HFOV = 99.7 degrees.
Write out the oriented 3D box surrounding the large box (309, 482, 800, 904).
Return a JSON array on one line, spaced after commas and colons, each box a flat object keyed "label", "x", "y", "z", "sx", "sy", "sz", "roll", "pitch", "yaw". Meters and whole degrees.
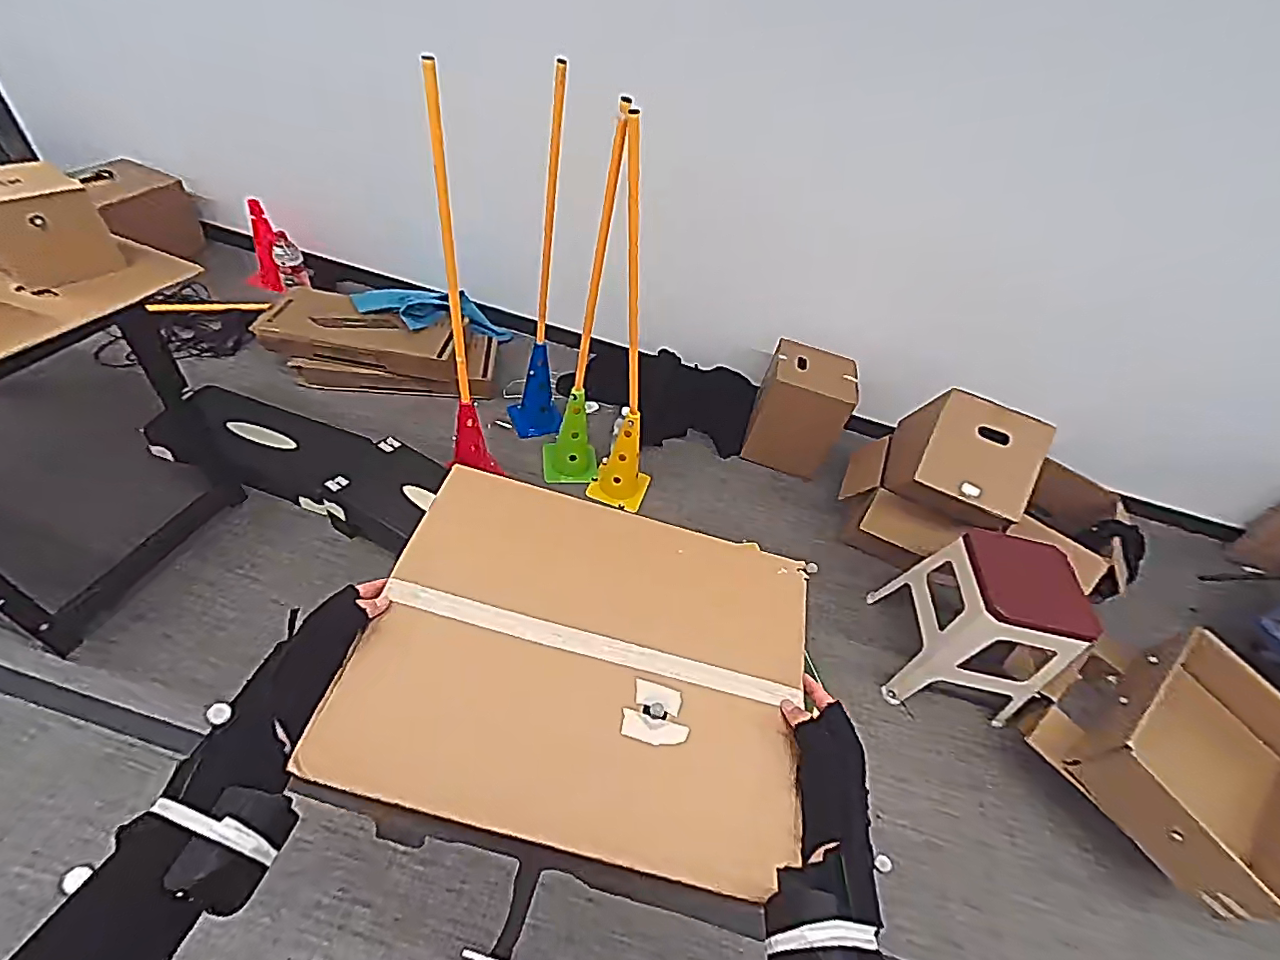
[{"label": "large box", "x": -0.070, "y": 0.256, "z": 0.630, "sx": 0.408, "sy": 0.320, "sz": 0.320, "roll": 17, "pitch": 52, "yaw": -2}]
